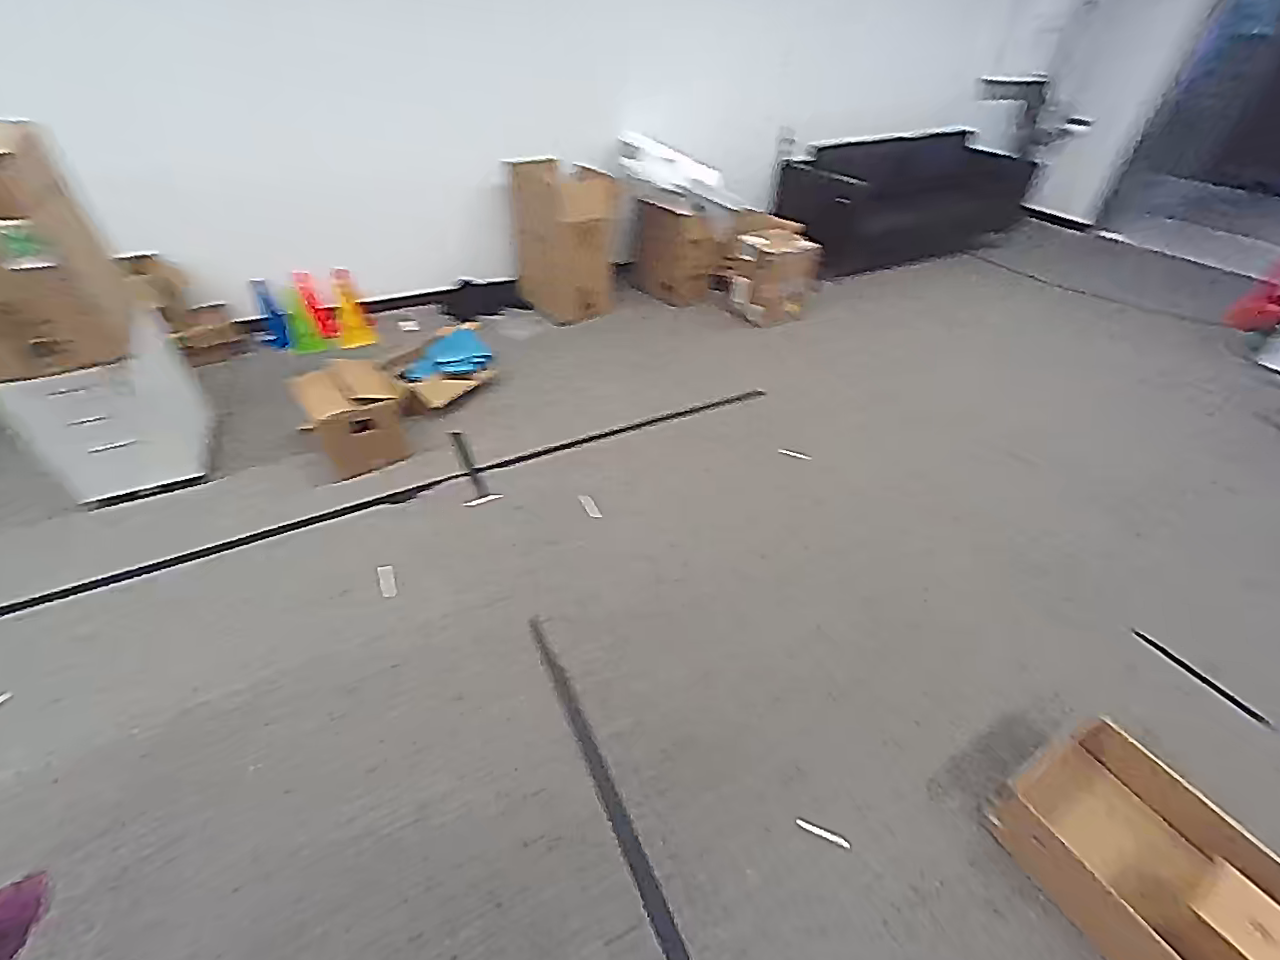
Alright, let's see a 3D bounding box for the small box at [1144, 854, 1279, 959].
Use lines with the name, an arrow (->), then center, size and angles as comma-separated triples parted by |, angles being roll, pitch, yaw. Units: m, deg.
small box -> 1.232, 0.940, 1.130 | 0.168, 0.176, 0.179 | -21, 44, -26
